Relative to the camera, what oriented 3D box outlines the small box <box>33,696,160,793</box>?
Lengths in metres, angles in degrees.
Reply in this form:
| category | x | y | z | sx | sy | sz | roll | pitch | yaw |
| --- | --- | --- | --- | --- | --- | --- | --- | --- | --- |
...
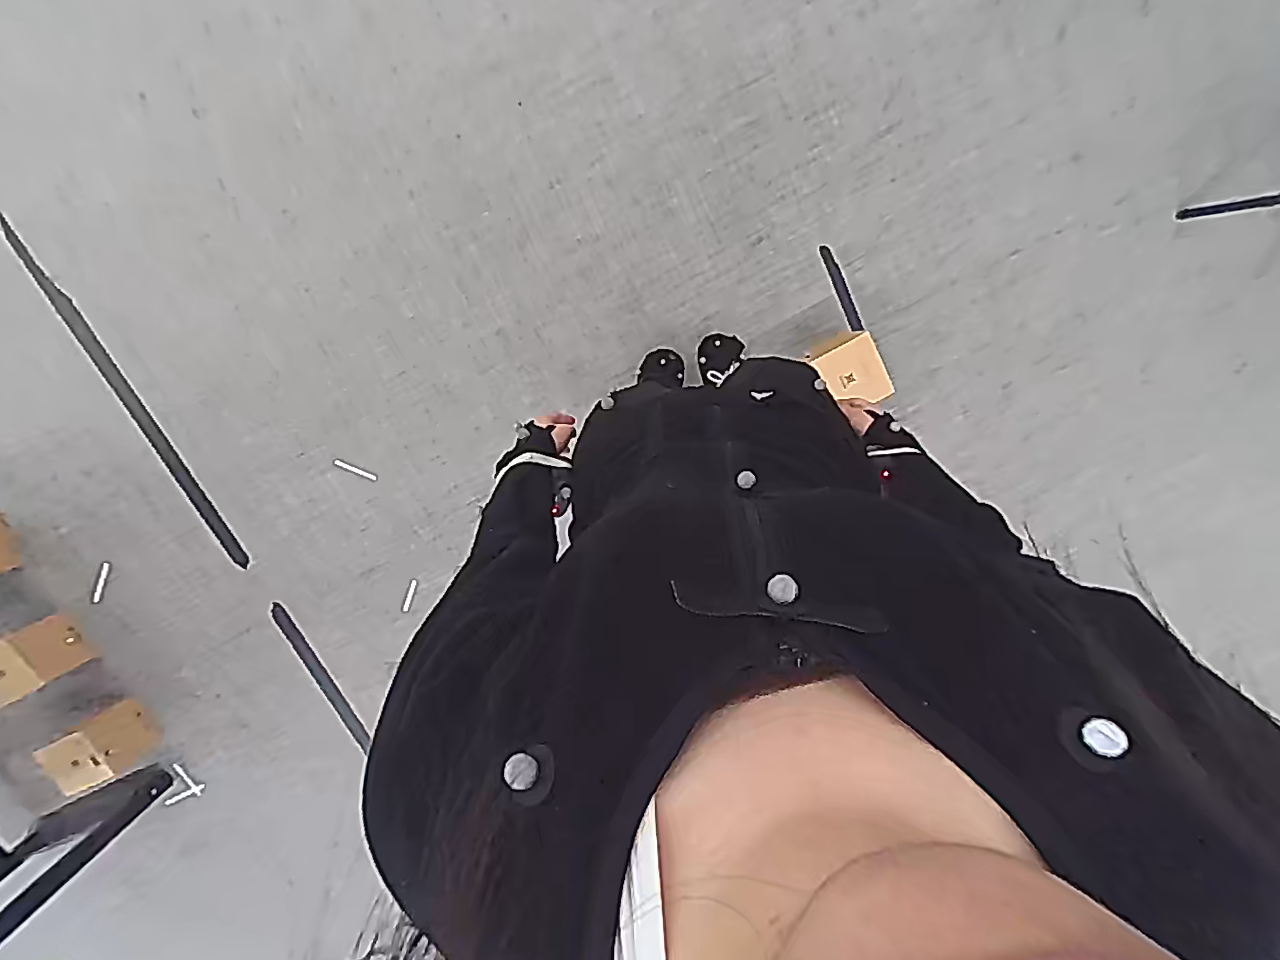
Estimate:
| category | x | y | z | sx | sy | sz | roll | pitch | yaw |
| --- | --- | --- | --- | --- | --- | --- | --- | --- | --- |
| small box | -1.617 | 0.787 | 1.620 | 0.179 | 0.176 | 0.168 | -24 | 103 | 7 |

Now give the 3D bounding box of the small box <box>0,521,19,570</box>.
| category | x | y | z | sx | sy | sz | roll | pitch | yaw |
| --- | --- | --- | --- | --- | --- | --- | --- | --- | --- |
| small box | -1.889 | 0.189 | 1.472 | 0.168 | 0.176 | 0.179 | -9 | 105 | 2 |

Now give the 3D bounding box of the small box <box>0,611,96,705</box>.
| category | x | y | z | sx | sy | sz | roll | pitch | yaw |
| --- | --- | --- | --- | --- | --- | --- | --- | --- | --- |
| small box | -1.747 | 0.507 | 1.550 | 0.179 | 0.176 | 0.168 | -26 | 103 | 6 |
